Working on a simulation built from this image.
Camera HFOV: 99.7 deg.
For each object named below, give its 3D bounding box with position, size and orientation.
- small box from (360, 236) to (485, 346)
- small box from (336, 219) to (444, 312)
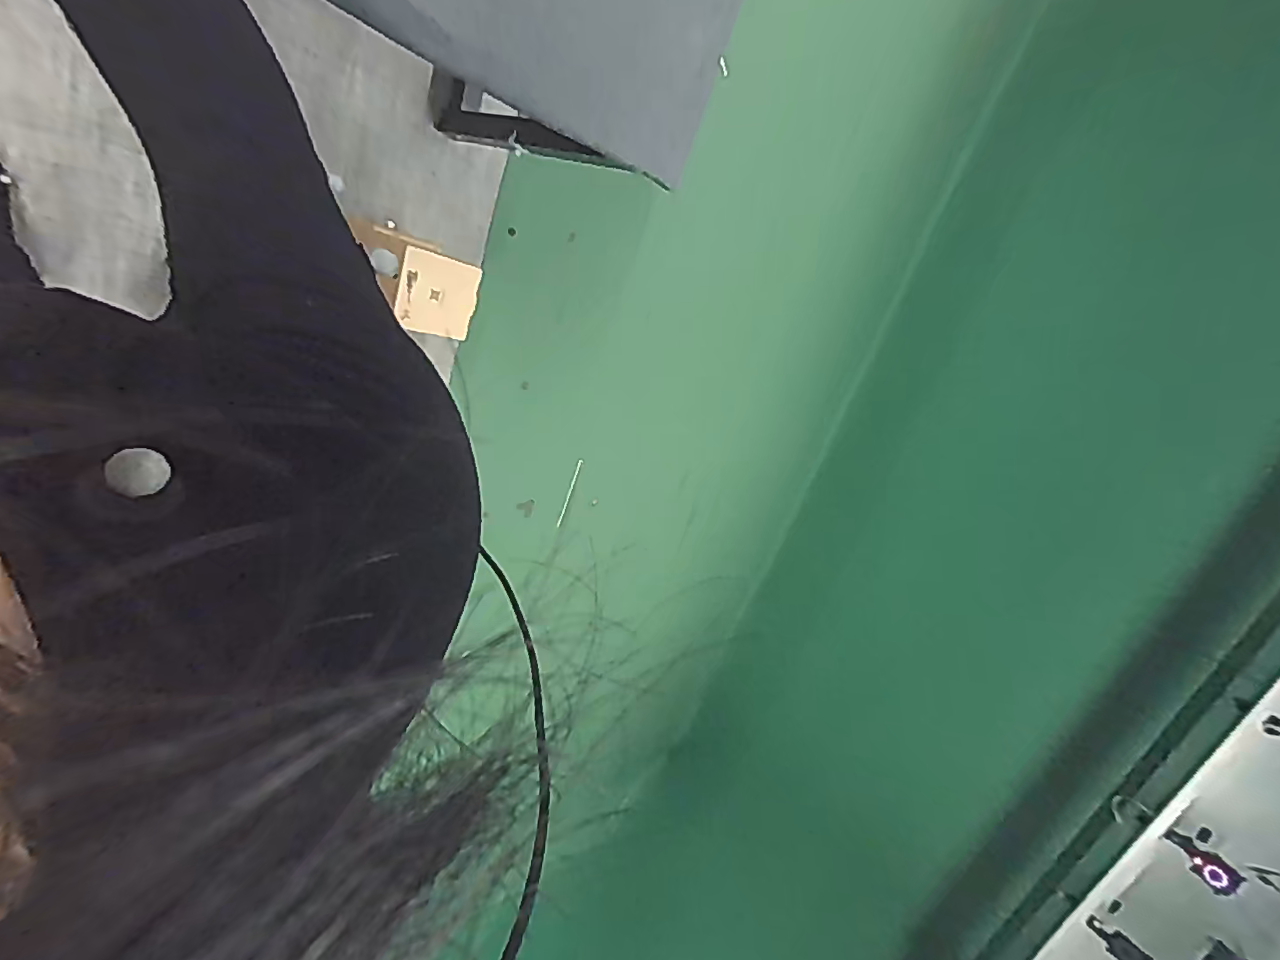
[{"bbox_3d":[-0.479,-0.415,1.187,0.179,0.176,0.168,1,117,-51],"label":"small box"},{"bbox_3d":[-0.595,-0.491,1.277,0.168,0.176,0.179,-2,117,-50],"label":"small box"}]
